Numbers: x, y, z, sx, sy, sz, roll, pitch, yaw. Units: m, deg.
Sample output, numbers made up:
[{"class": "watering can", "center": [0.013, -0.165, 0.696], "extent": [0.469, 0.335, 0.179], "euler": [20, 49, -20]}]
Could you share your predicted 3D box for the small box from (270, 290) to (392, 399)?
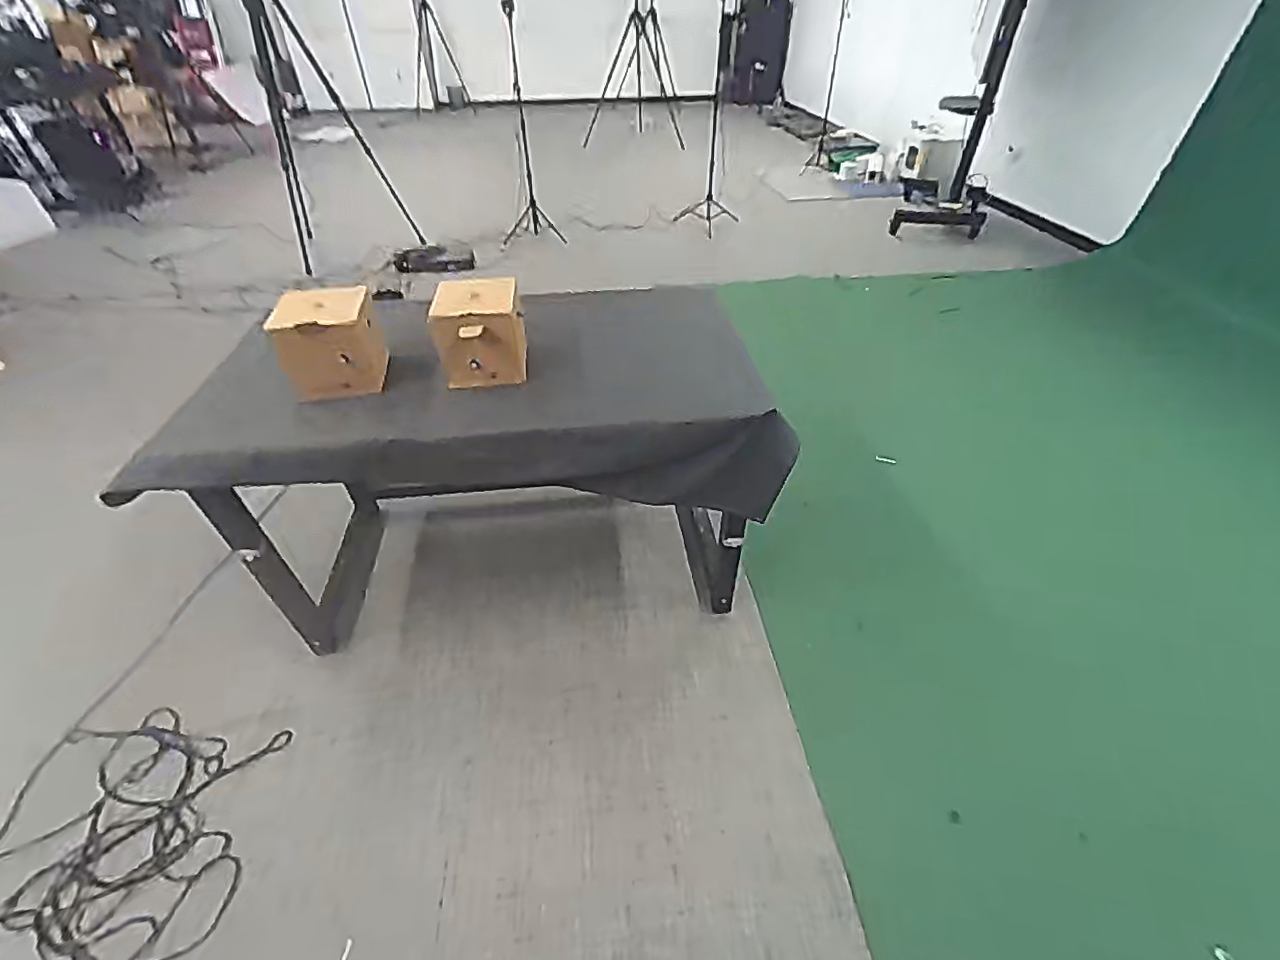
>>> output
[{"class": "small box", "center": [-0.640, -0.283, 1.147], "extent": [0.168, 0.176, 0.179], "euler": [-8, 41, -11]}]

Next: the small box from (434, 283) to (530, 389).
[{"class": "small box", "center": [-0.336, -0.316, 1.183], "extent": [0.168, 0.176, 0.179], "euler": [-5, 42, -6]}]
